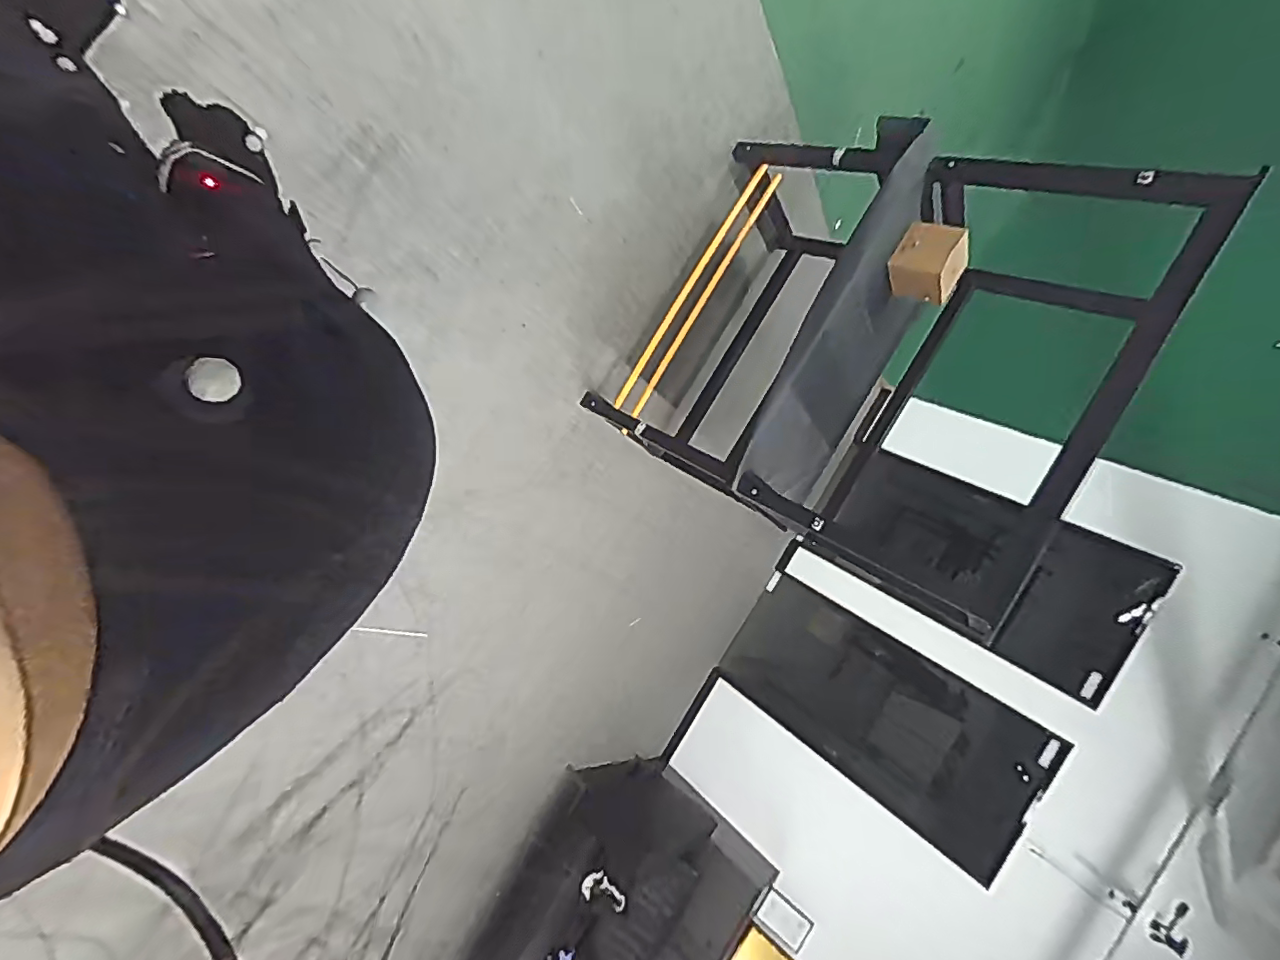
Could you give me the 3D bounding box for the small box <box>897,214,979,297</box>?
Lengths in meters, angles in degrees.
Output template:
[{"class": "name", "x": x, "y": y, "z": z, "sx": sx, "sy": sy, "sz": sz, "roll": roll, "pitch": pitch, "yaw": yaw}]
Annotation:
[{"class": "small box", "x": 0.946, "y": -0.719, "z": 1.721, "sx": 0.168, "sy": 0.176, "sz": 0.179, "roll": -58, "pitch": 145, "yaw": 0}]
